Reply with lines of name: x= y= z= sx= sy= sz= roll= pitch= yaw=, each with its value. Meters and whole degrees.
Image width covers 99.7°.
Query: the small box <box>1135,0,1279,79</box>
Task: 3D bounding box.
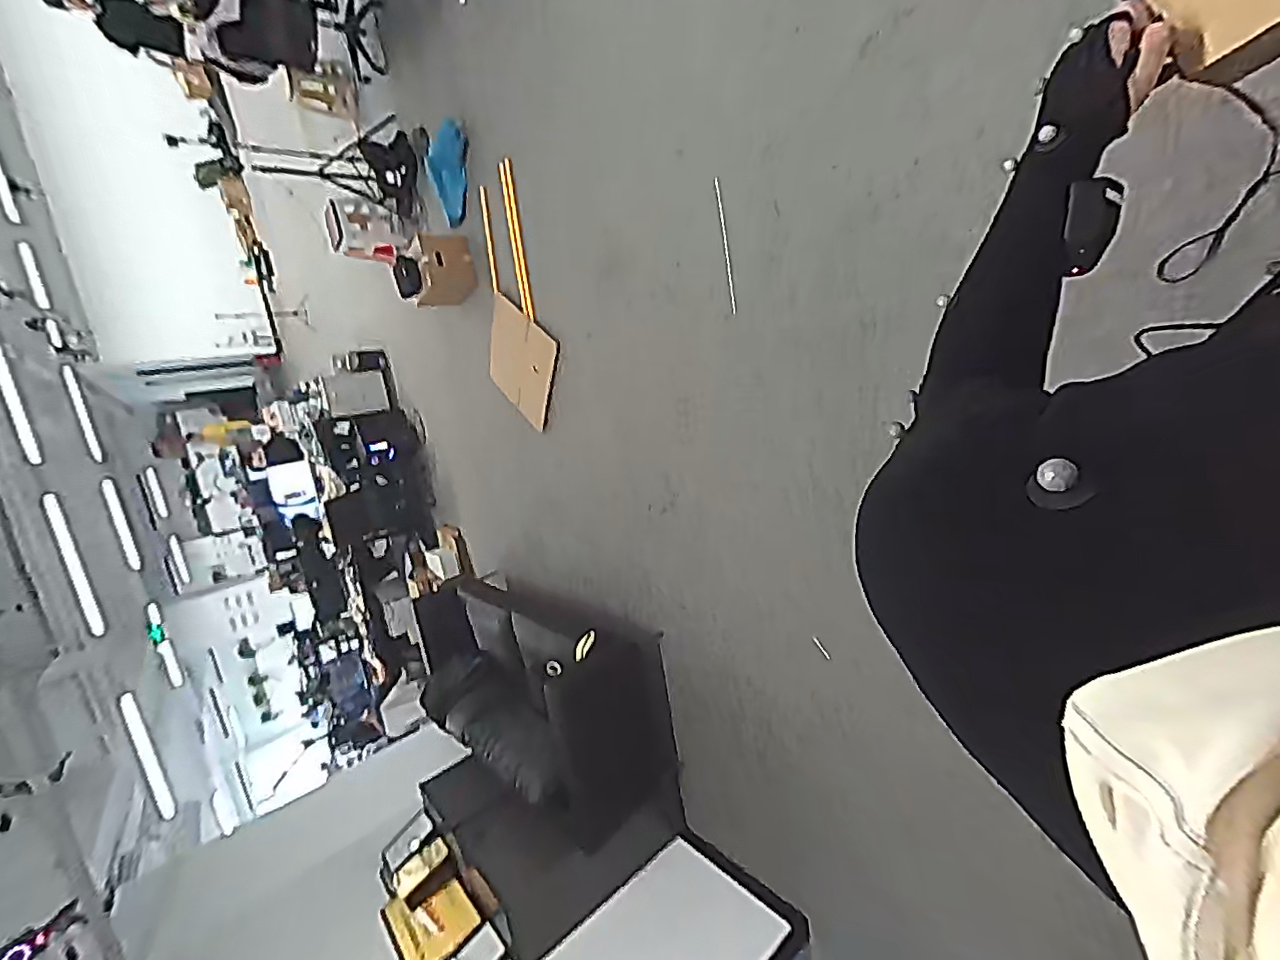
small box: x=0.527 y=-0.460 z=0.430 sx=0.179 sy=0.176 sz=0.168 roll=-22 pitch=91 yaw=59
